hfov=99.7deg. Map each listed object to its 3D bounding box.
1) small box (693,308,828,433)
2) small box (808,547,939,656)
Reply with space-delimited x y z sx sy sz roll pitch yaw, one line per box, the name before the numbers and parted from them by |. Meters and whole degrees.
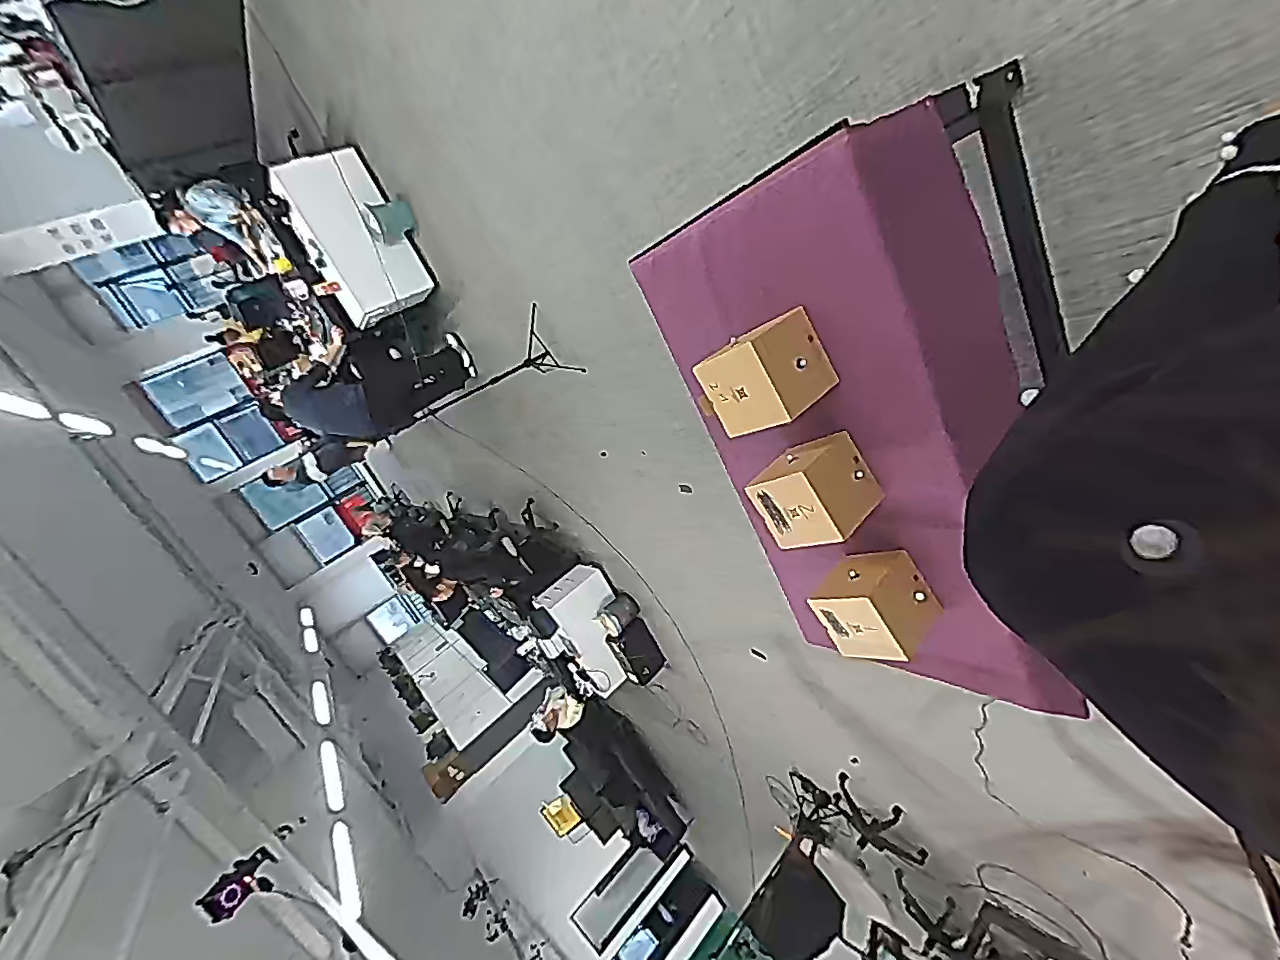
small box | 0.245 -0.215 1.071 0.168 0.176 0.179 59 152 -12
small box | 0.522 0.267 1.209 0.168 0.176 0.179 55 151 -5
